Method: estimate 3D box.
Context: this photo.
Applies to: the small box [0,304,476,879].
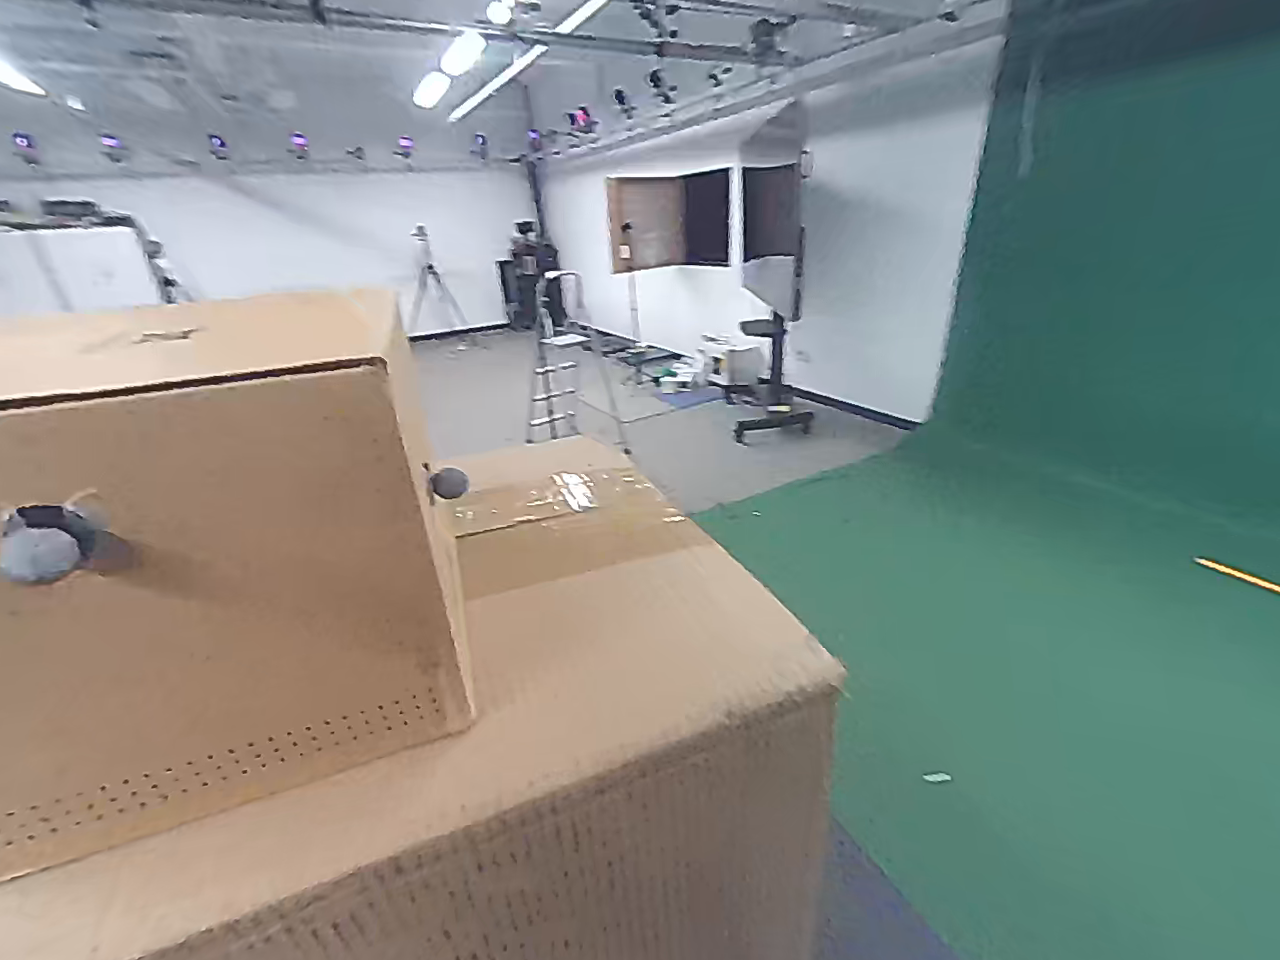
[{"bbox_3d":[-0.178,0.027,0.247,0.179,0.176,0.168,-12,29,-17],"label":"small box"}]
